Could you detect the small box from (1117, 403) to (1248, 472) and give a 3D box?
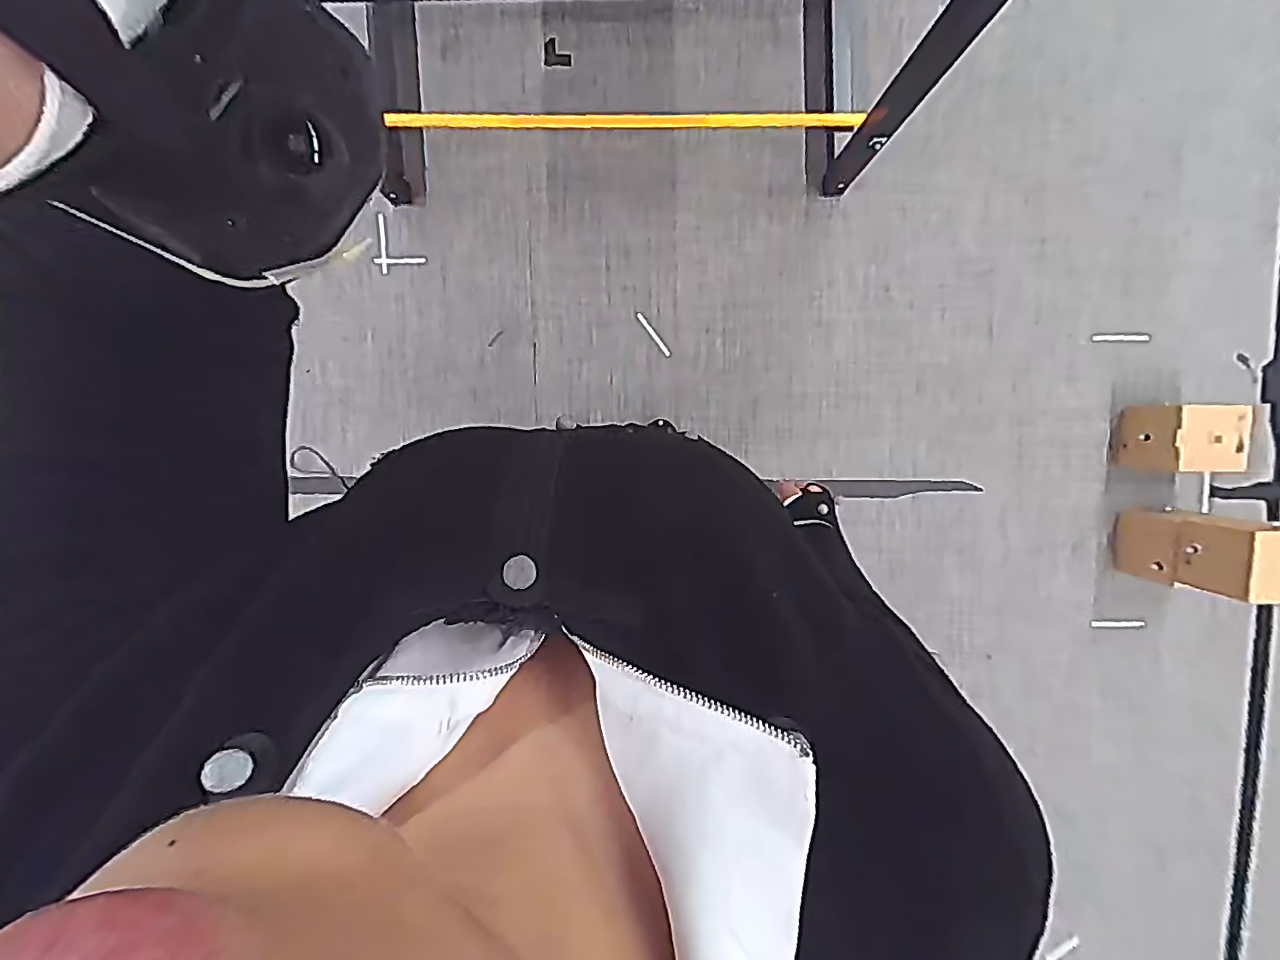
[{"bbox_3d":[1.402,-0.109,1.410,0.179,0.176,0.168,1,95,0],"label":"small box"}]

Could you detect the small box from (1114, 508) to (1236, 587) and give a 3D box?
[{"bbox_3d":[1.413,0.176,1.437,0.168,0.176,0.179,-2,96,-1],"label":"small box"}]

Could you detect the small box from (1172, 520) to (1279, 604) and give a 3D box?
[{"bbox_3d":[1.426,0.186,1.275,0.179,0.176,0.168,0,95,1],"label":"small box"}]
